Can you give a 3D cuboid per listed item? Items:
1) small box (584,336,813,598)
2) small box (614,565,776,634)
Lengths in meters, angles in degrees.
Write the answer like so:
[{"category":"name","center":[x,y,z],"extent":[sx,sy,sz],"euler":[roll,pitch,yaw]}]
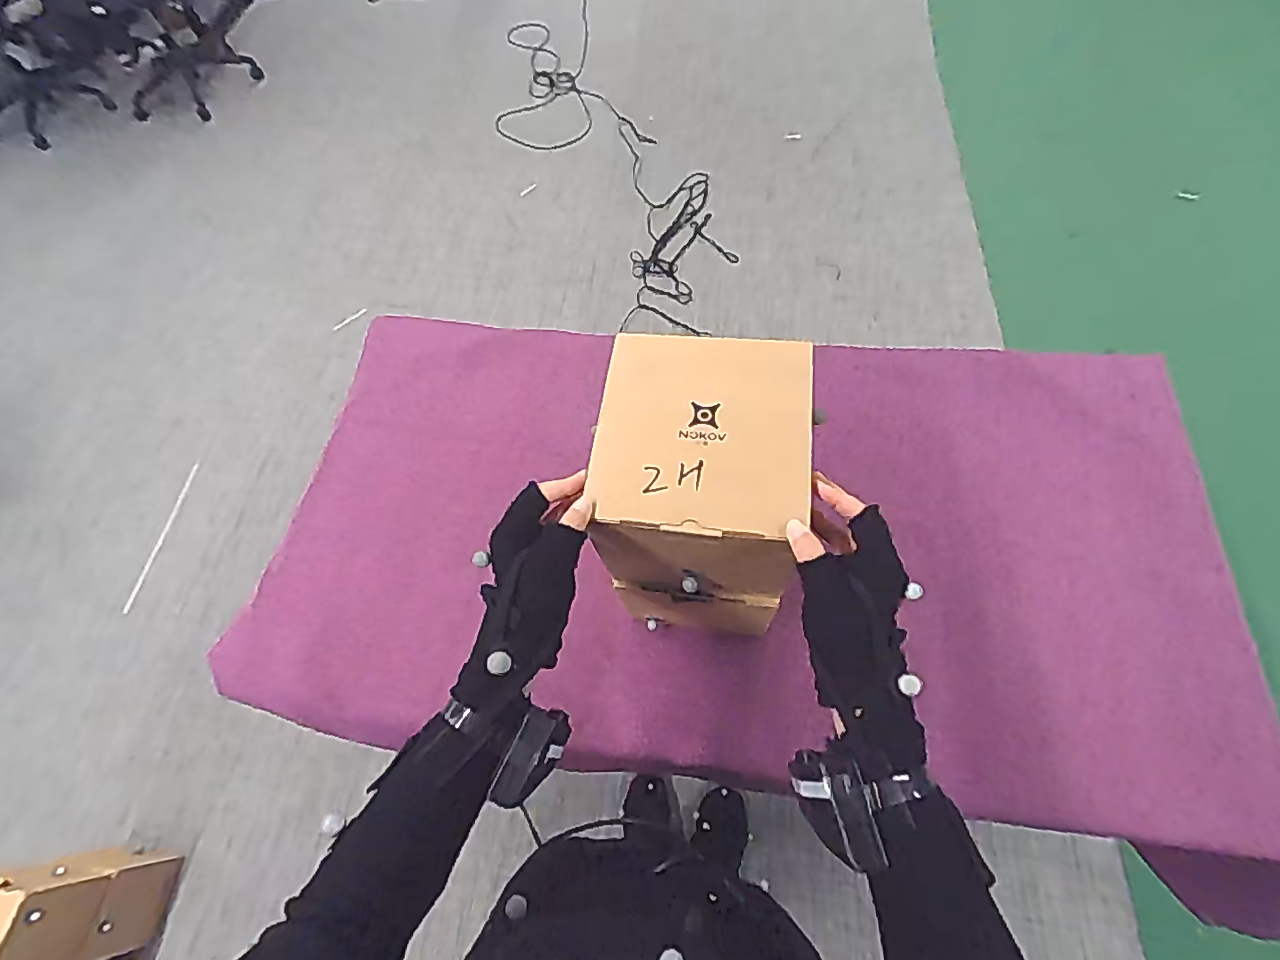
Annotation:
[{"category":"small box","center":[0.058,-0.006,0.498],"extent":[0.168,0.176,0.179],"euler":[6,65,10]},{"category":"small box","center":[0.075,0.074,0.642],"extent":[0.168,0.176,0.179],"euler":[6,64,9]}]
